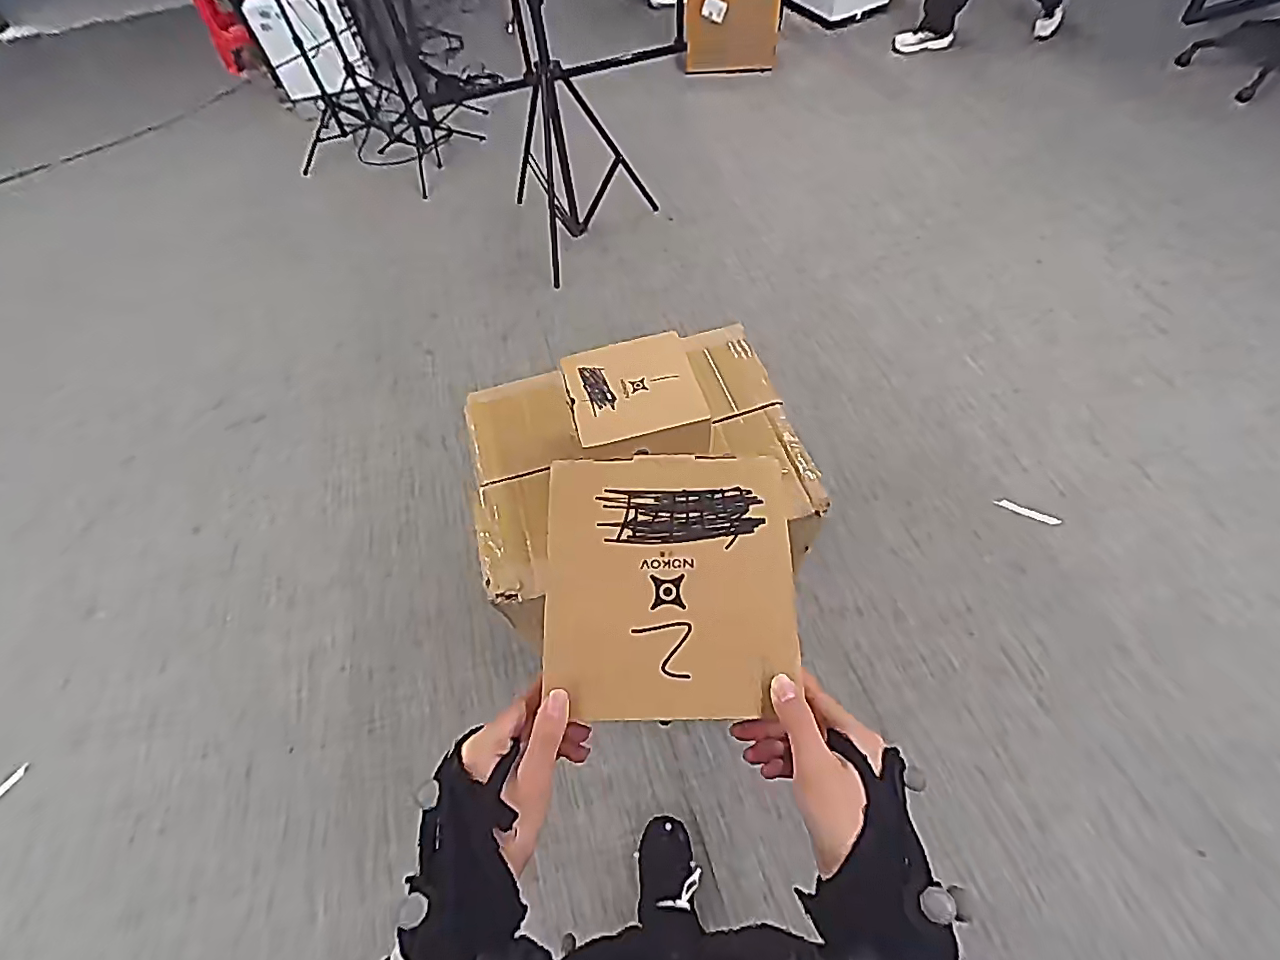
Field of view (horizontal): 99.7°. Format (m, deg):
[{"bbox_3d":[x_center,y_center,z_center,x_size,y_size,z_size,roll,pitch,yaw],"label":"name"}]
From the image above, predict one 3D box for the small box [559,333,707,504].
[{"bbox_3d":[-0.008,-0.084,0.802,0.179,0.176,0.168,-14,59,-5],"label":"small box"}]
